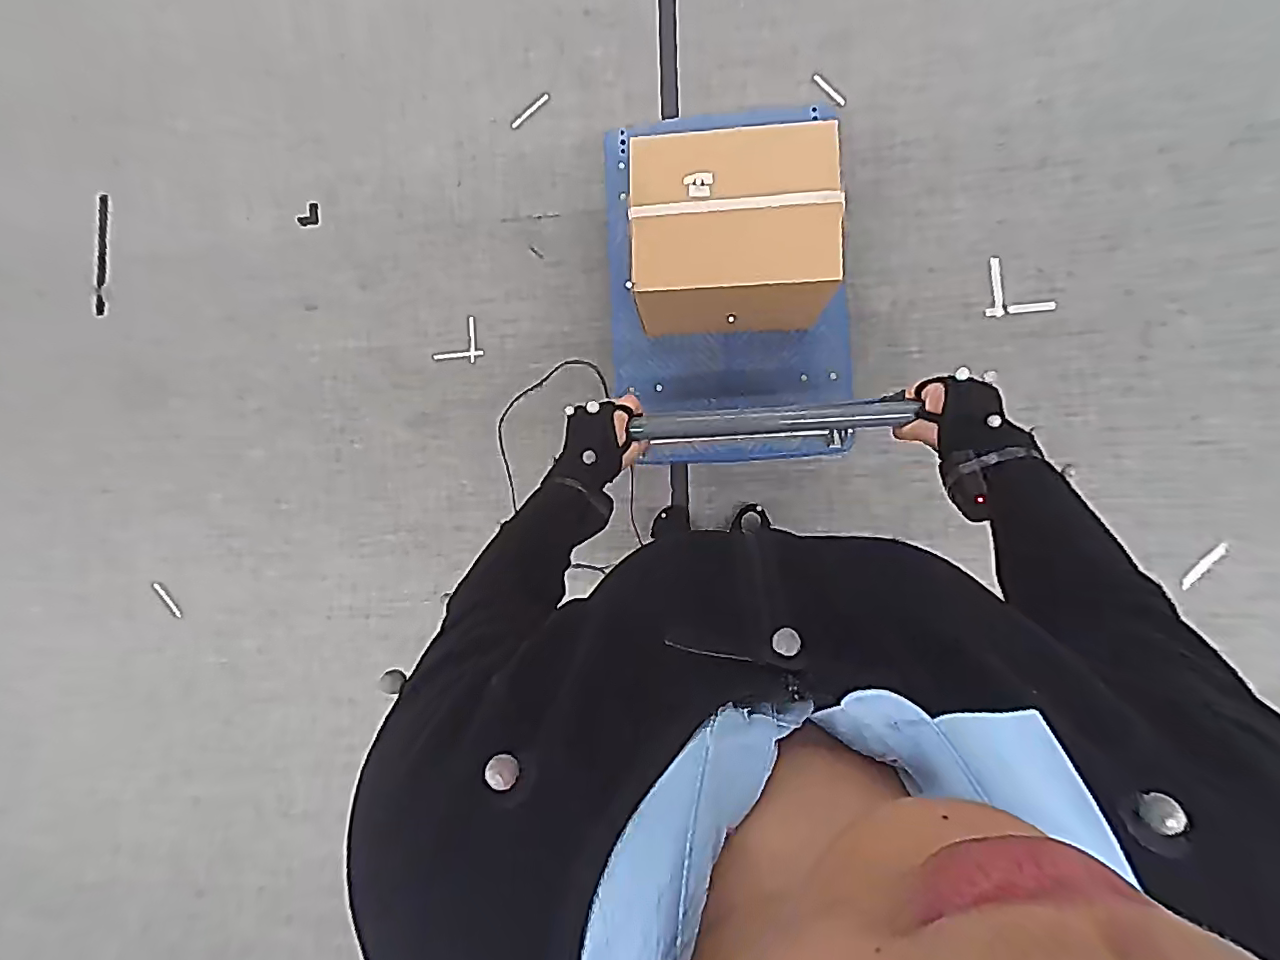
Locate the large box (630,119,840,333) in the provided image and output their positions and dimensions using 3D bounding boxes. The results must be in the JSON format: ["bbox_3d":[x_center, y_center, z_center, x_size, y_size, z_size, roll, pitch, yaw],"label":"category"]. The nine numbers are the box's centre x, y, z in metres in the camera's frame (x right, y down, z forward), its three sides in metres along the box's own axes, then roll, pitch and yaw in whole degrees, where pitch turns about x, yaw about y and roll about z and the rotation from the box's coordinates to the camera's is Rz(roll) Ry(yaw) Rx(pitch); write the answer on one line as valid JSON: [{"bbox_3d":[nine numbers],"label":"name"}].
[{"bbox_3d":[0.201,-0.533,1.208,0.408,0.320,0.320,-1,87,7],"label":"large box"}]
